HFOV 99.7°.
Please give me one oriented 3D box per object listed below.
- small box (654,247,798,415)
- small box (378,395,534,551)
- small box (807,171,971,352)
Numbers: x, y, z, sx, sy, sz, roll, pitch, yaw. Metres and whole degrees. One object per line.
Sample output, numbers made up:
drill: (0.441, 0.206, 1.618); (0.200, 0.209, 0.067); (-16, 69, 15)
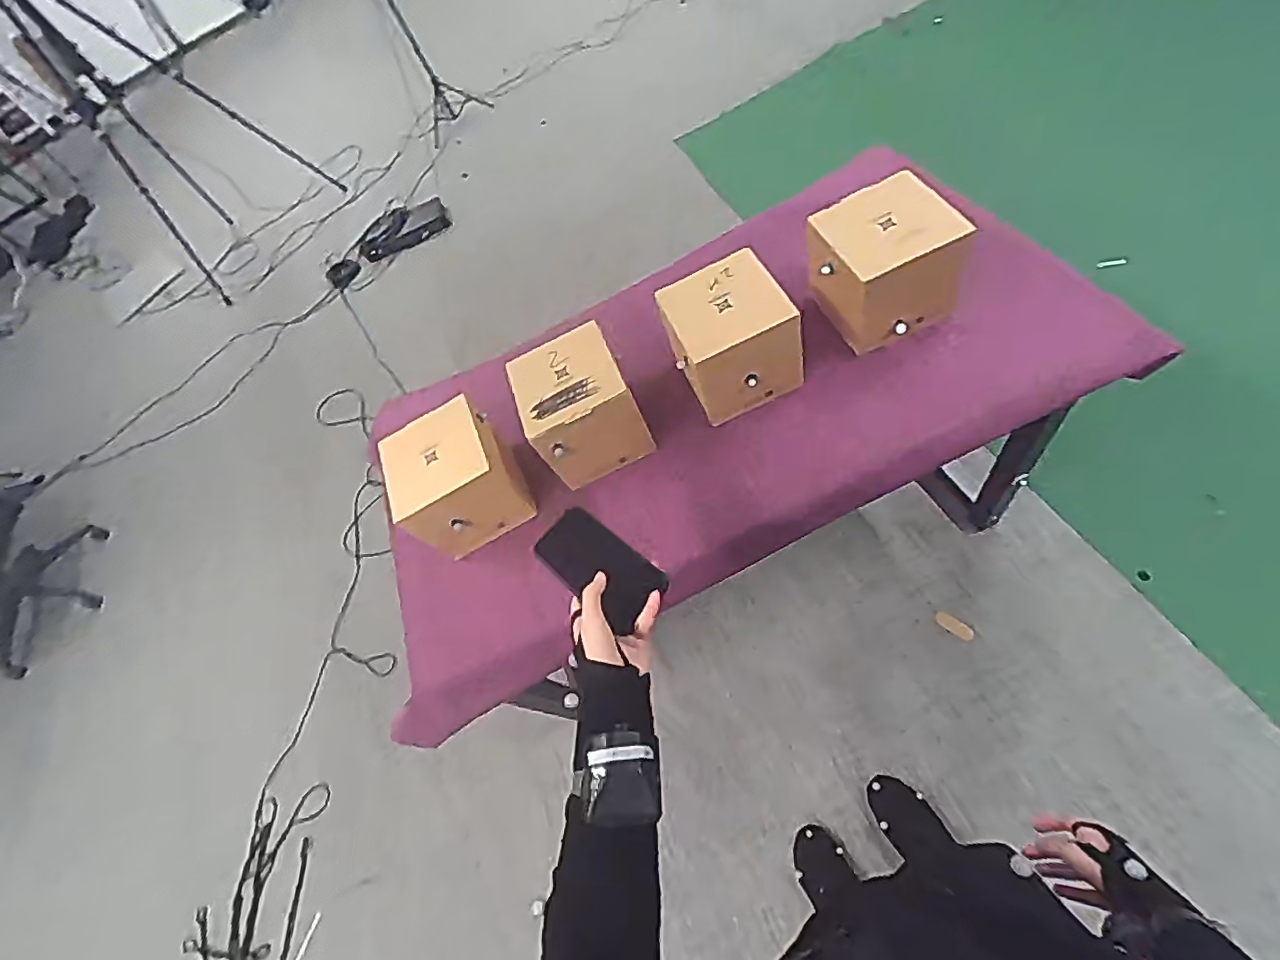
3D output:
small box: (0.144, -0.228, 0.876); (0.168, 0.176, 0.179); (-25, 57, 4)
small box: (-0.301, -0.001, 0.902); (0.168, 0.176, 0.179); (-30, 56, 1)
small box: (0.379, -0.340, 0.858); (0.168, 0.176, 0.179); (-24, 57, 6)
